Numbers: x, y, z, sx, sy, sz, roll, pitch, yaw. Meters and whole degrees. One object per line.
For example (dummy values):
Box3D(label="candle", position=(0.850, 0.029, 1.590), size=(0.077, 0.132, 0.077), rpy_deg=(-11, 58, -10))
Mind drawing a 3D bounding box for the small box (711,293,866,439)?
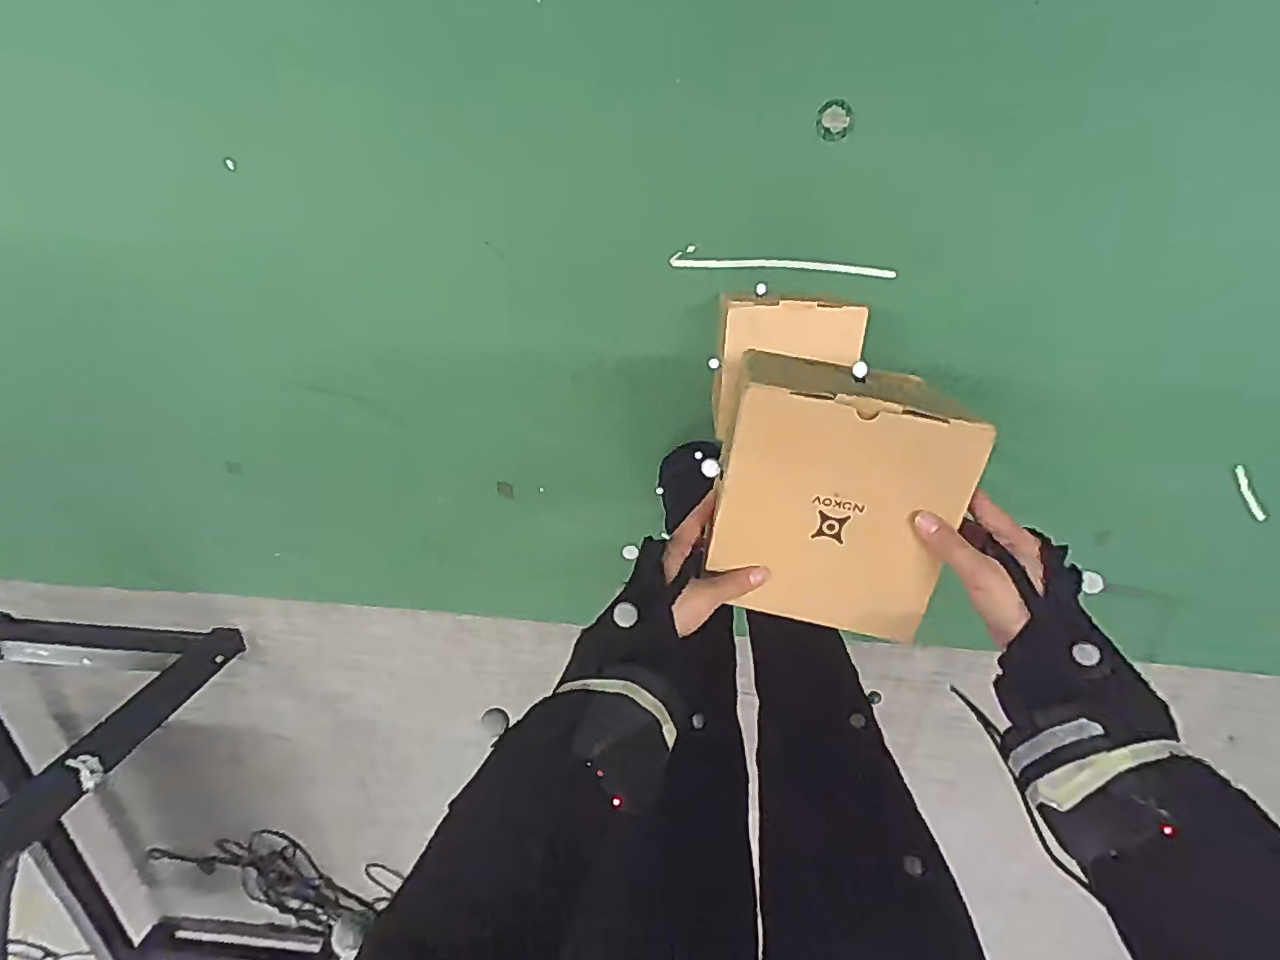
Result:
Box3D(label="small box", position=(0.189, -0.159, 0.743), size=(0.168, 0.176, 0.179), rpy_deg=(4, 114, 4))

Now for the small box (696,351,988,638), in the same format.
Box3D(label="small box", position=(0.150, -0.001, 0.465), size=(0.168, 0.176, 0.179), rpy_deg=(12, 112, 5))
